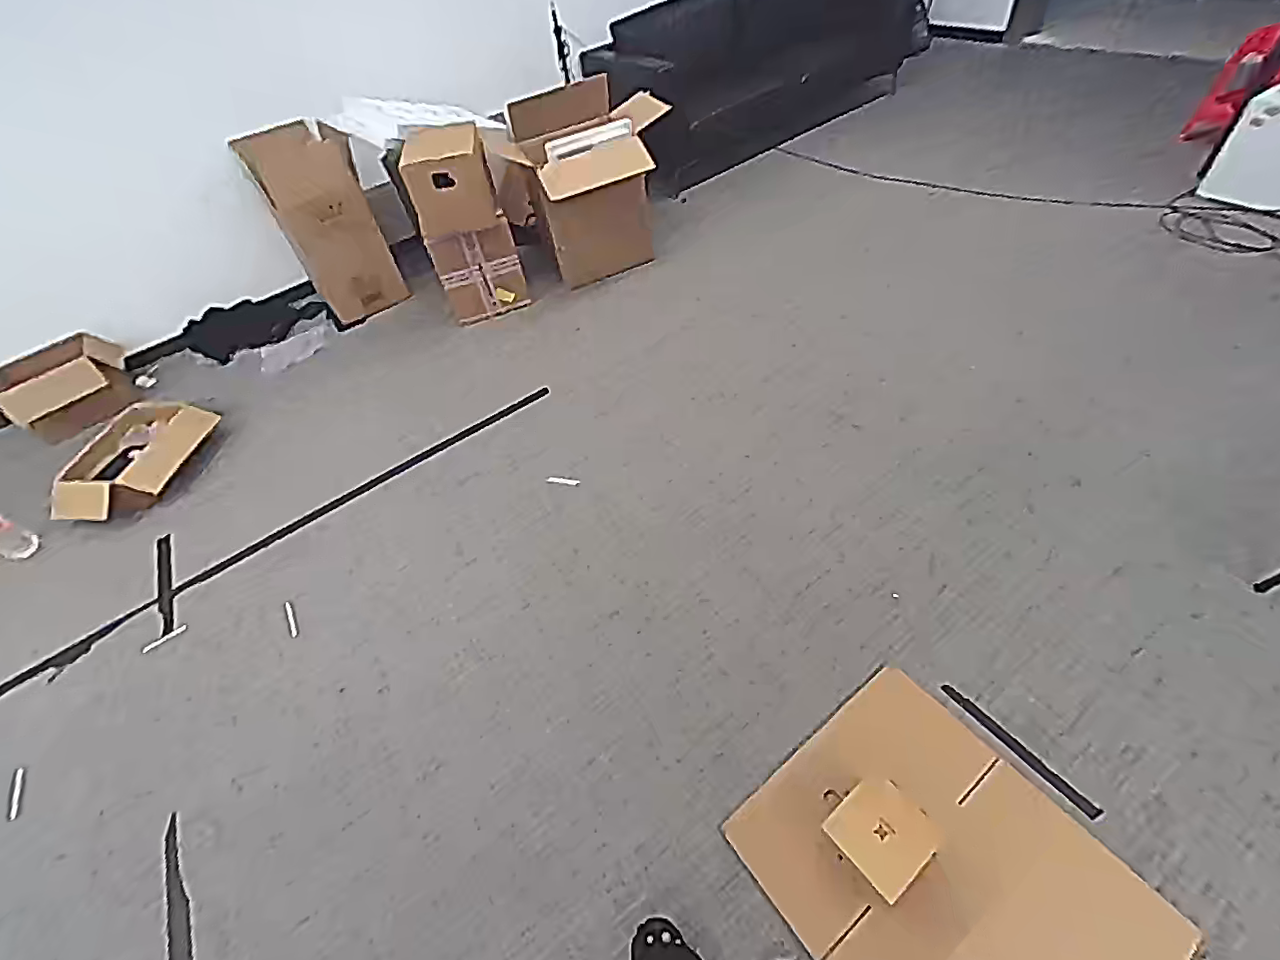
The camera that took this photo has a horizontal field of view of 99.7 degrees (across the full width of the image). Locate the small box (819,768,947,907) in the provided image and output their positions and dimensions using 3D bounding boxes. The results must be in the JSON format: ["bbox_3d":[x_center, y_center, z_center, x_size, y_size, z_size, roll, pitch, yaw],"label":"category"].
[{"bbox_3d":[0.492,0.744,1.121,0.179,0.176,0.168,-36,53,-18],"label":"small box"}]
